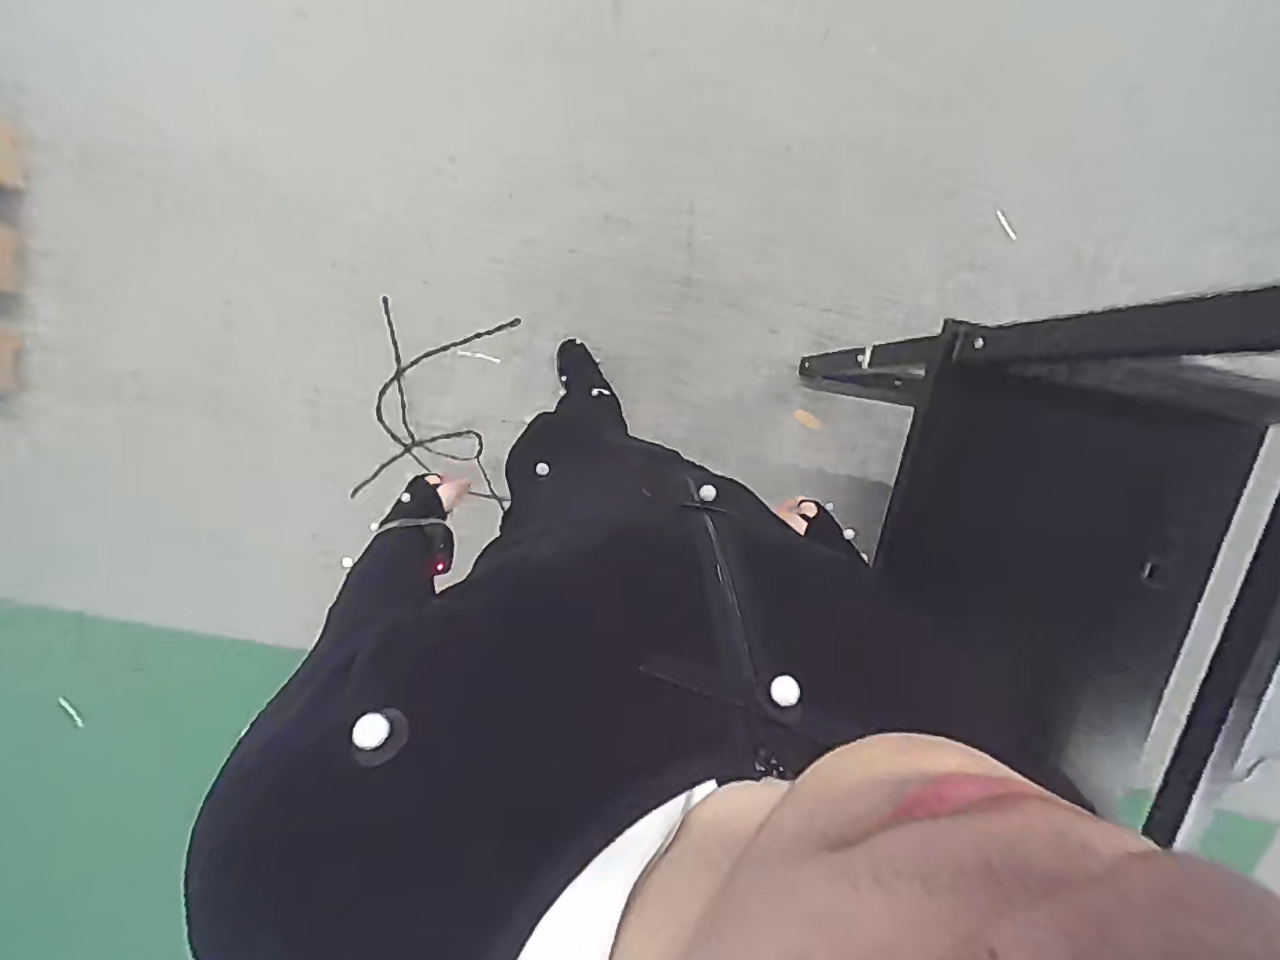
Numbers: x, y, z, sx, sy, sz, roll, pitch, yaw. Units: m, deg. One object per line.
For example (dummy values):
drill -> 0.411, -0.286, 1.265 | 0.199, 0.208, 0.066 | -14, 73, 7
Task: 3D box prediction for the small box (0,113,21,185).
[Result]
small box -> -1.688, -0.848, 1.321 | 0.179, 0.176, 0.168 | 11, 99, -4
